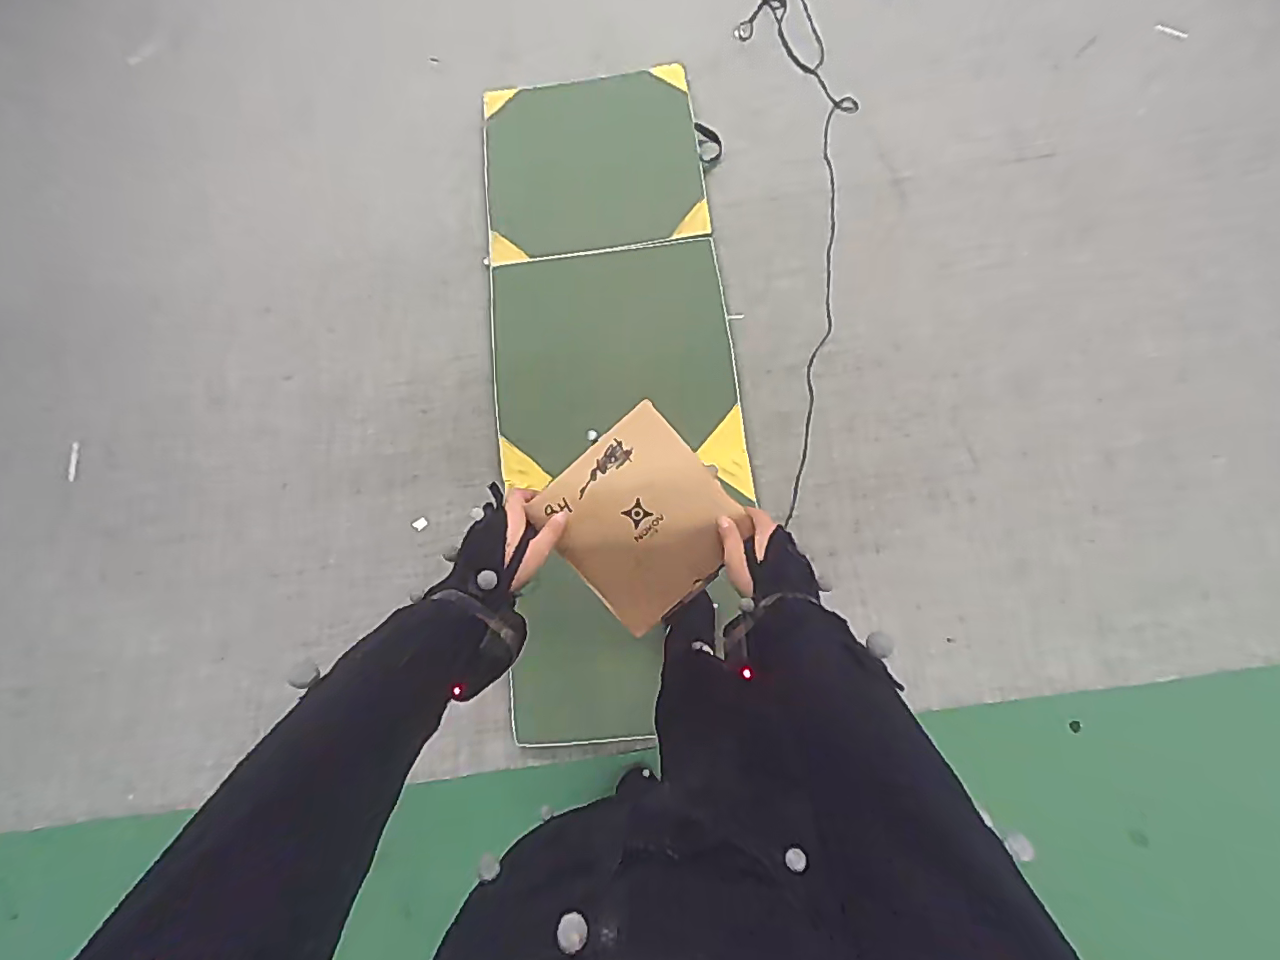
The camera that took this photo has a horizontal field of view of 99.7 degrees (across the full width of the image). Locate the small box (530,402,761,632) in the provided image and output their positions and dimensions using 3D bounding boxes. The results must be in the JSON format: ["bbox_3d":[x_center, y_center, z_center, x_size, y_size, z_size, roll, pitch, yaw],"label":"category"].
[{"bbox_3d":[0.005,0.034,0.615,0.168,0.176,0.179,-41,92,0],"label":"small box"}]
